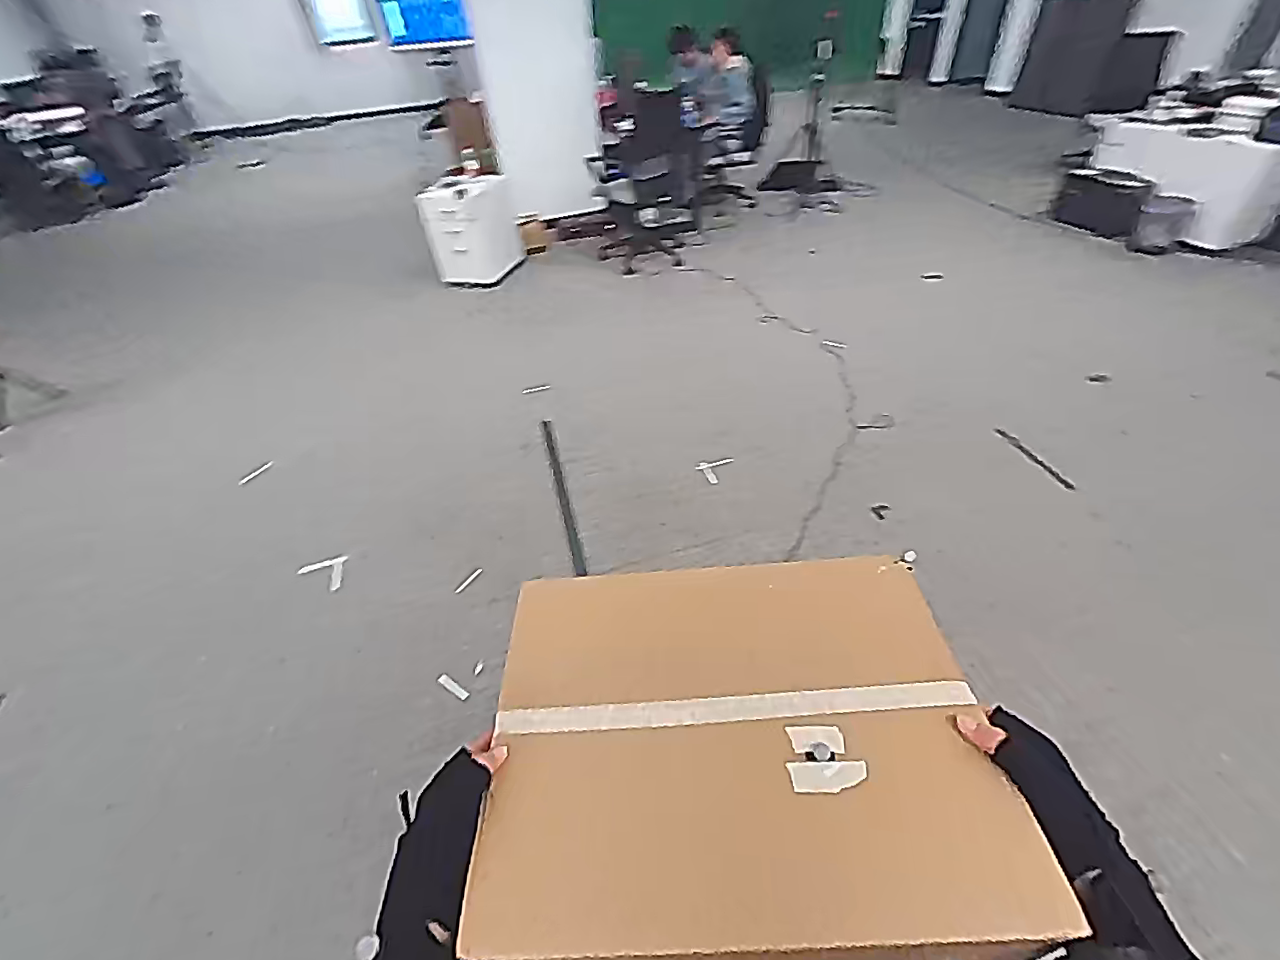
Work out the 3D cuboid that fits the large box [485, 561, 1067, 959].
[{"bbox_3d":[0.097,0.314,0.572,0.408,0.320,0.320,-4,41,3],"label":"large box"}]
